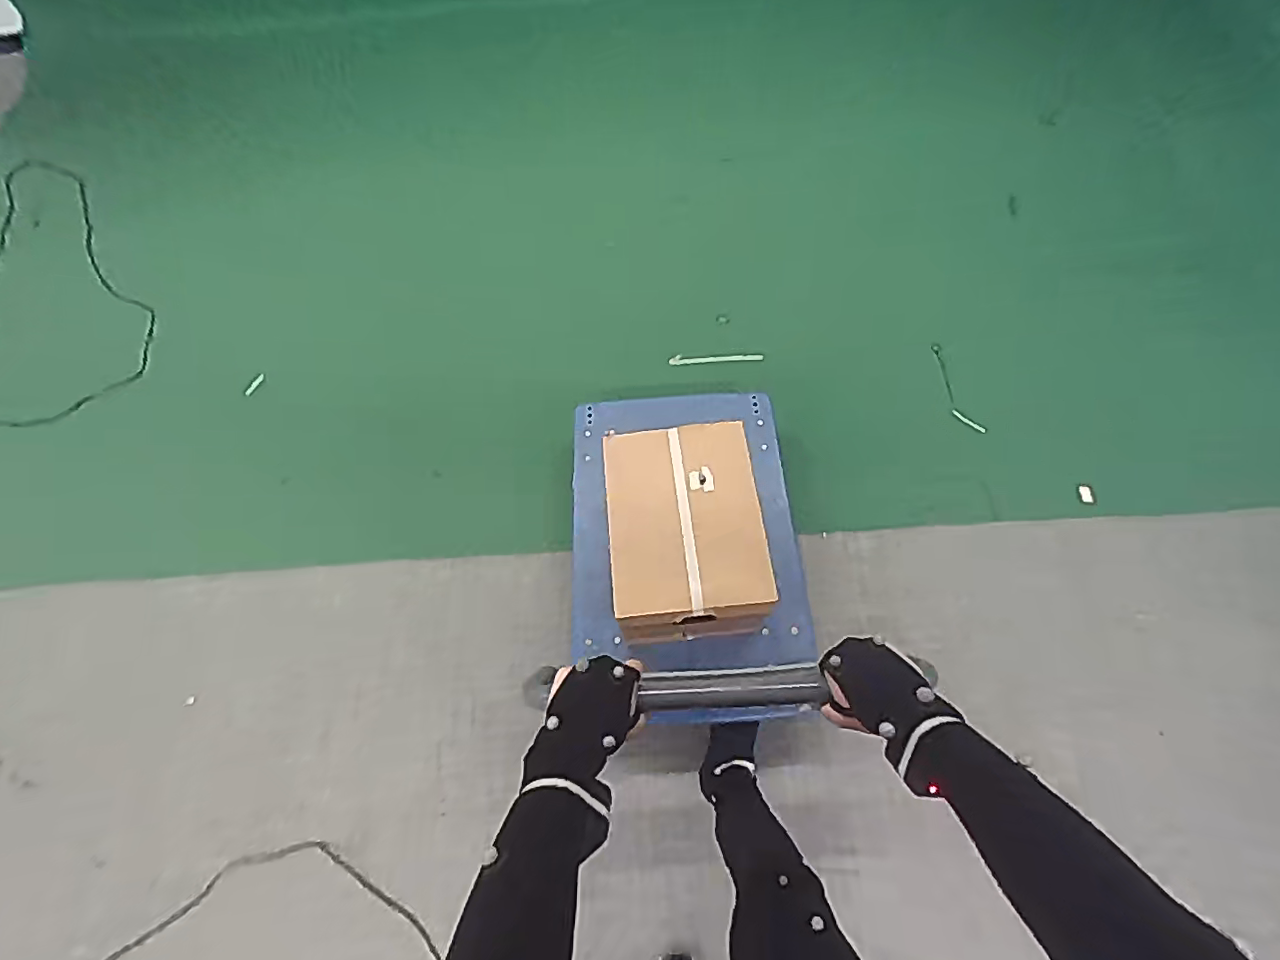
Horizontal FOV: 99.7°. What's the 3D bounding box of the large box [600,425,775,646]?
[{"bbox_3d":[0.095,0.139,1.247,0.320,0.320,0.408,-7,64,0],"label":"large box"}]
